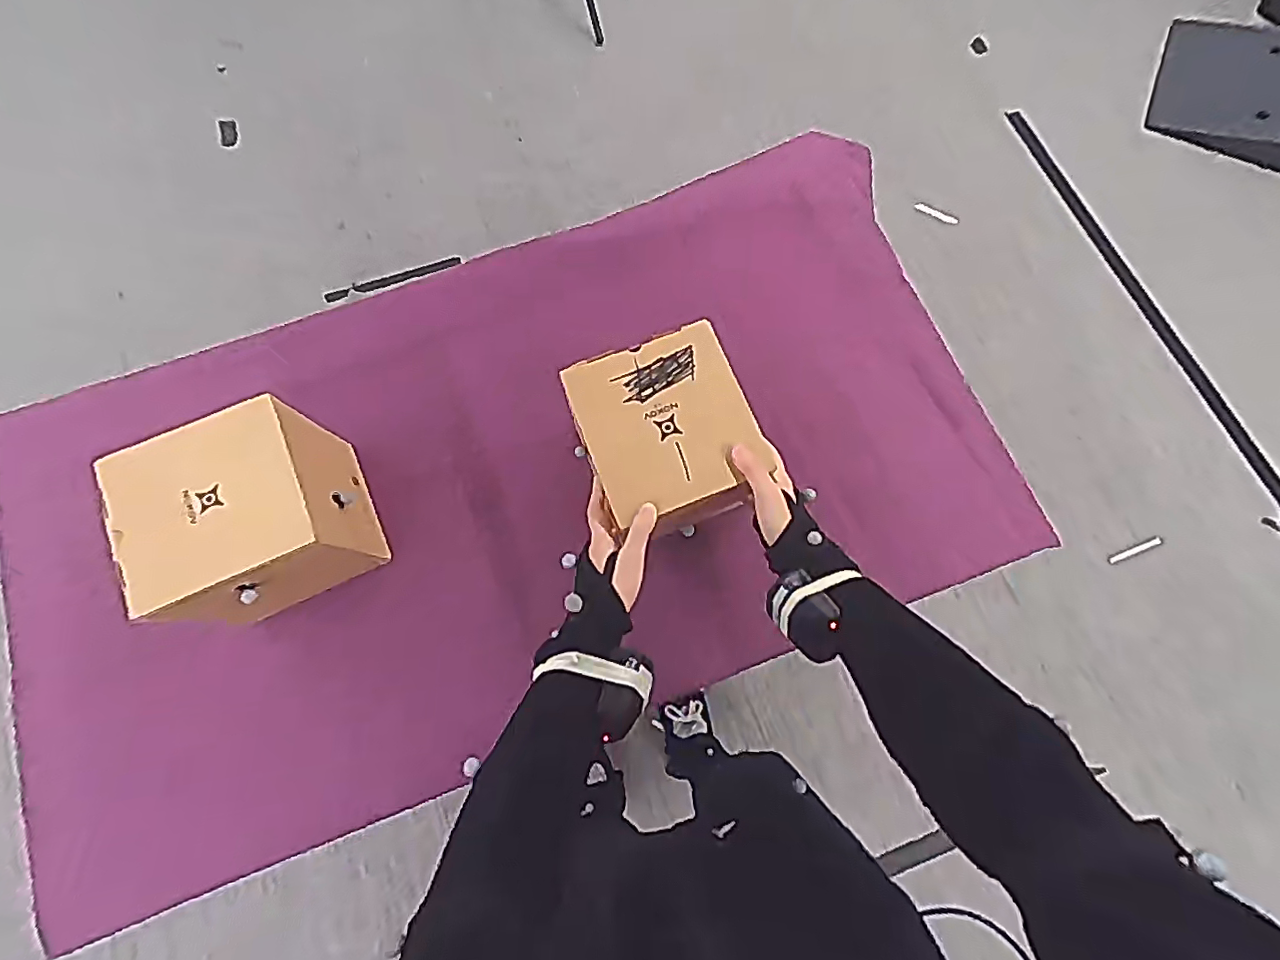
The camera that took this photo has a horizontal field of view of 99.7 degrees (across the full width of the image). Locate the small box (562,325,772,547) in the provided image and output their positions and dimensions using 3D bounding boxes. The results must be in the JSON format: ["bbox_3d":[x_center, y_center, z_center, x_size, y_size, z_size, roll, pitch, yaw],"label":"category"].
[{"bbox_3d":[0.022,-0.038,0.612,0.168,0.176,0.179,-21,78,-5],"label":"small box"}]

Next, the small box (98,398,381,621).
[{"bbox_3d":[-0.413,0.040,0.592,0.179,0.176,0.168,-24,78,-6],"label":"small box"}]
